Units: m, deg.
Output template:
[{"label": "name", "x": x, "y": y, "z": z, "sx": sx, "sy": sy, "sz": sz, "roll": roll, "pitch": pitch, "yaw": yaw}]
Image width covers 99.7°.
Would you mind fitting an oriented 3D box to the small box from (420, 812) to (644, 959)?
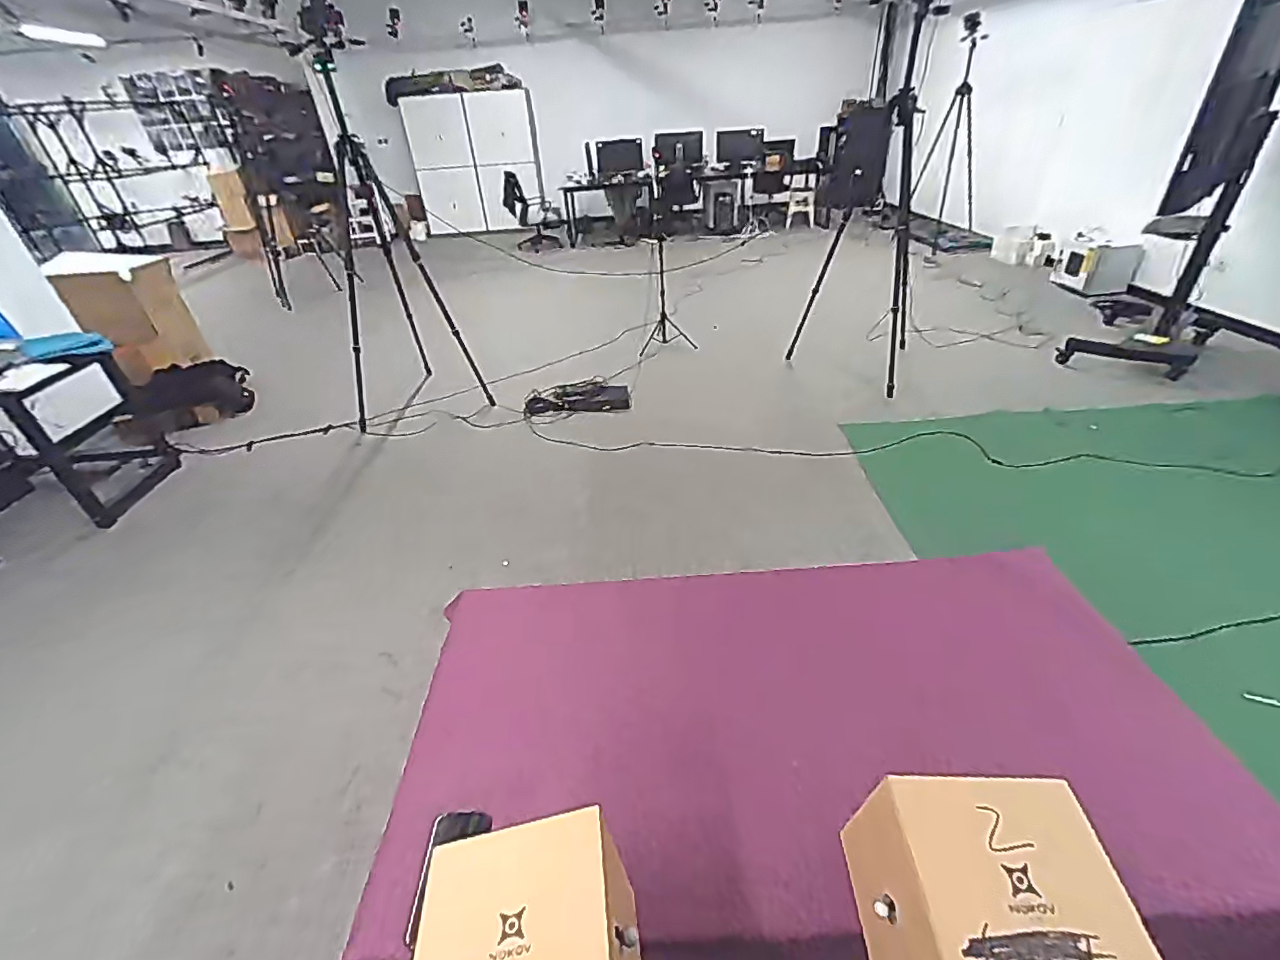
[{"label": "small box", "x": -0.087, "y": 0.446, "z": 0.485, "sx": 0.168, "sy": 0.176, "sz": 0.179, "roll": -13, "pitch": 30, "yaw": -2}]
